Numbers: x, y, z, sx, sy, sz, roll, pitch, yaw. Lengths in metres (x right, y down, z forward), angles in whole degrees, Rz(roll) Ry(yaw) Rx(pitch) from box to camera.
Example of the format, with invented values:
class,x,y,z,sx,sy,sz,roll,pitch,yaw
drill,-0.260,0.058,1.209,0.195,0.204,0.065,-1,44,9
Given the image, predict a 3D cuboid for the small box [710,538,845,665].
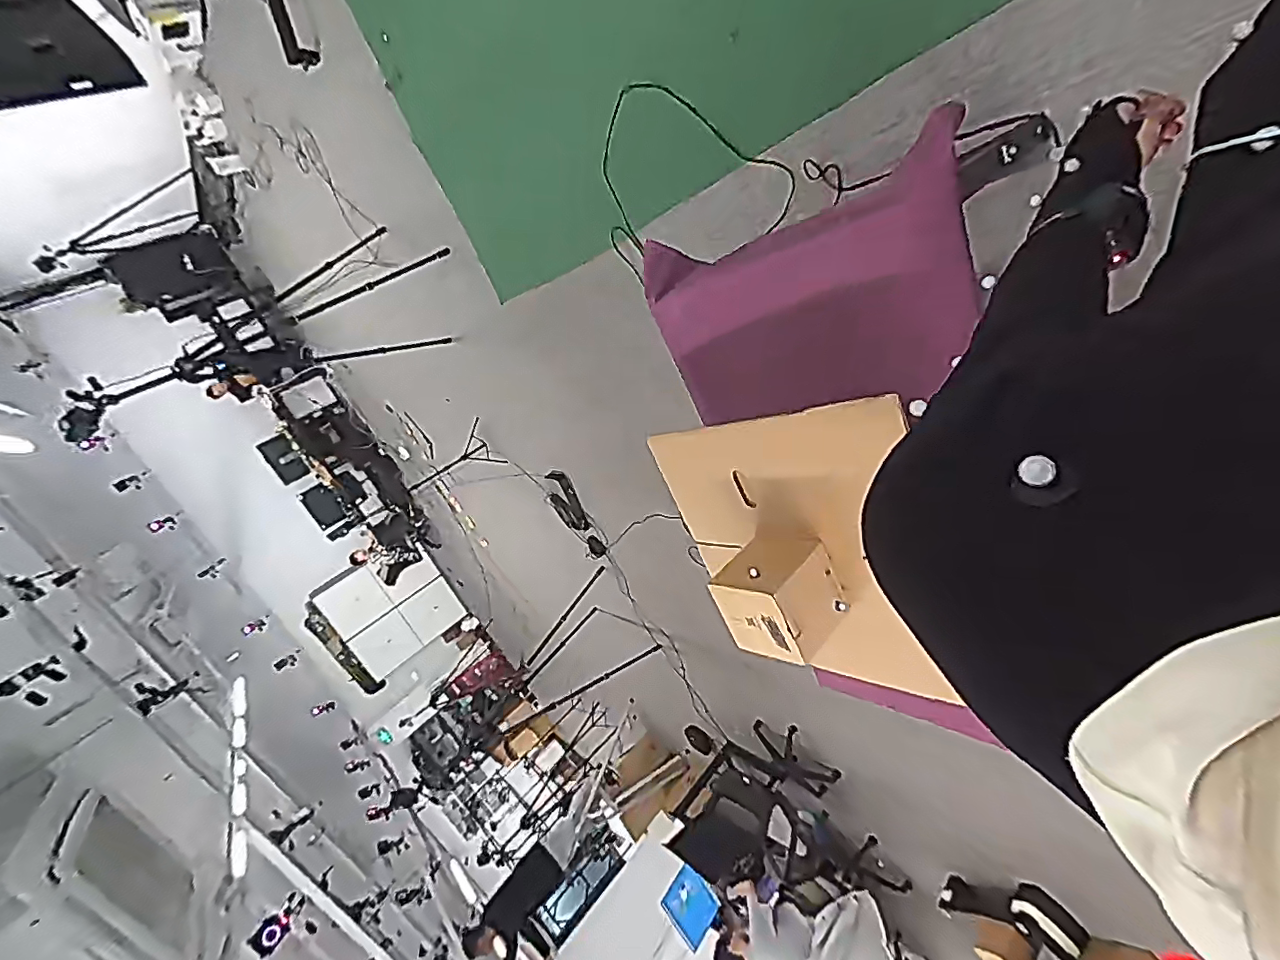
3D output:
class,x,y,z,sx,sy,sz,roll,pitch,yaw
small box,0.277,0.228,1.065,0.179,0.176,0.168,-4,117,55
